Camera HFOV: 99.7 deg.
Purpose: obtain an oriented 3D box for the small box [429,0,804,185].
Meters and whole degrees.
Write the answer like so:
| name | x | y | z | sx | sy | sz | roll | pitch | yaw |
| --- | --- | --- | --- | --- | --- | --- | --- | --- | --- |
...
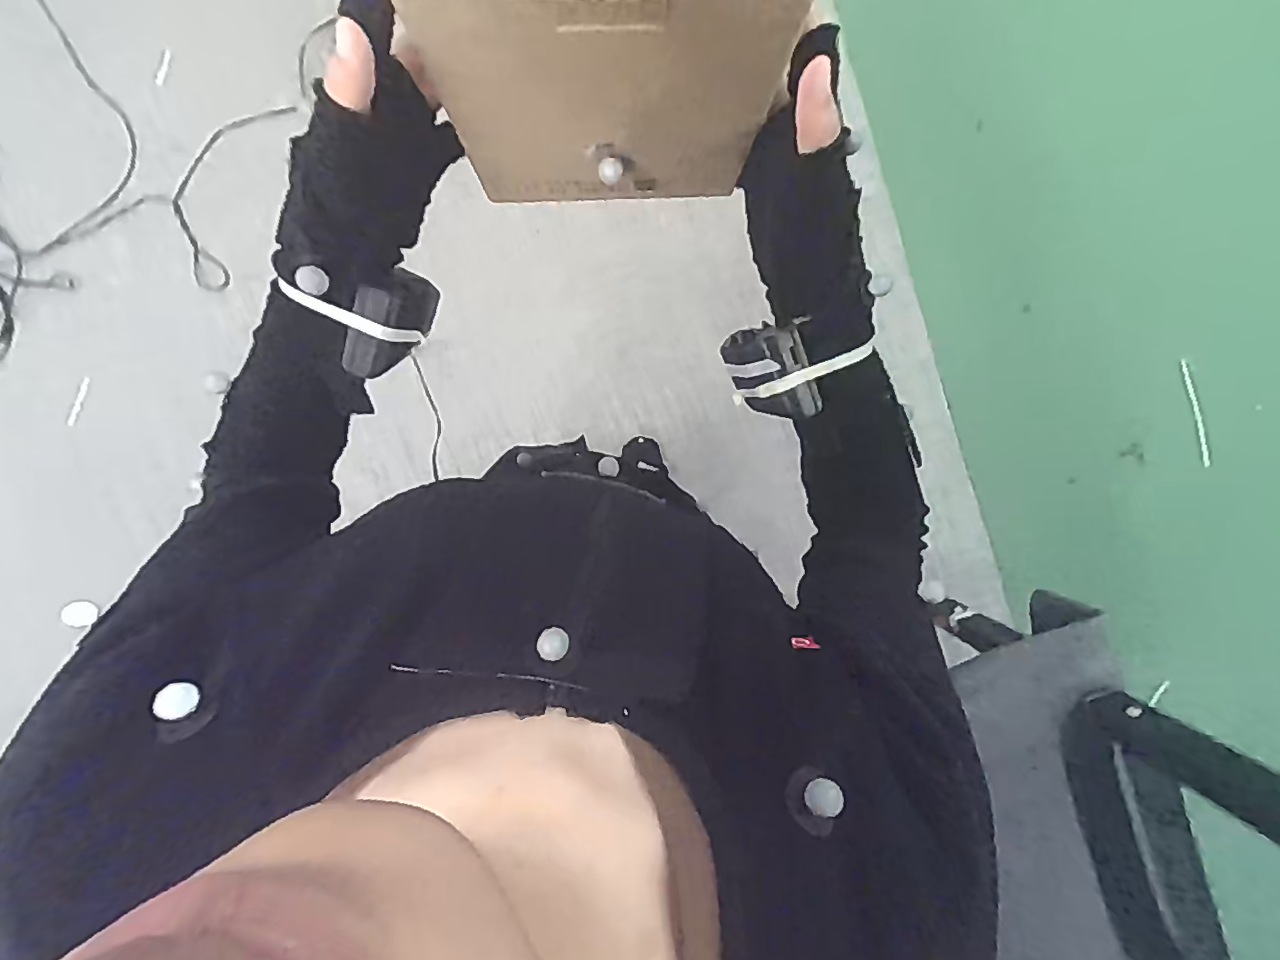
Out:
| name | x | y | z | sx | sy | sz | roll | pitch | yaw |
| --- | --- | --- | --- | --- | --- | --- | --- | --- | --- |
| small box | -0.019 | -0.284 | 0.279 | 0.168 | 0.176 | 0.179 | -4 | 91 | -2 |
